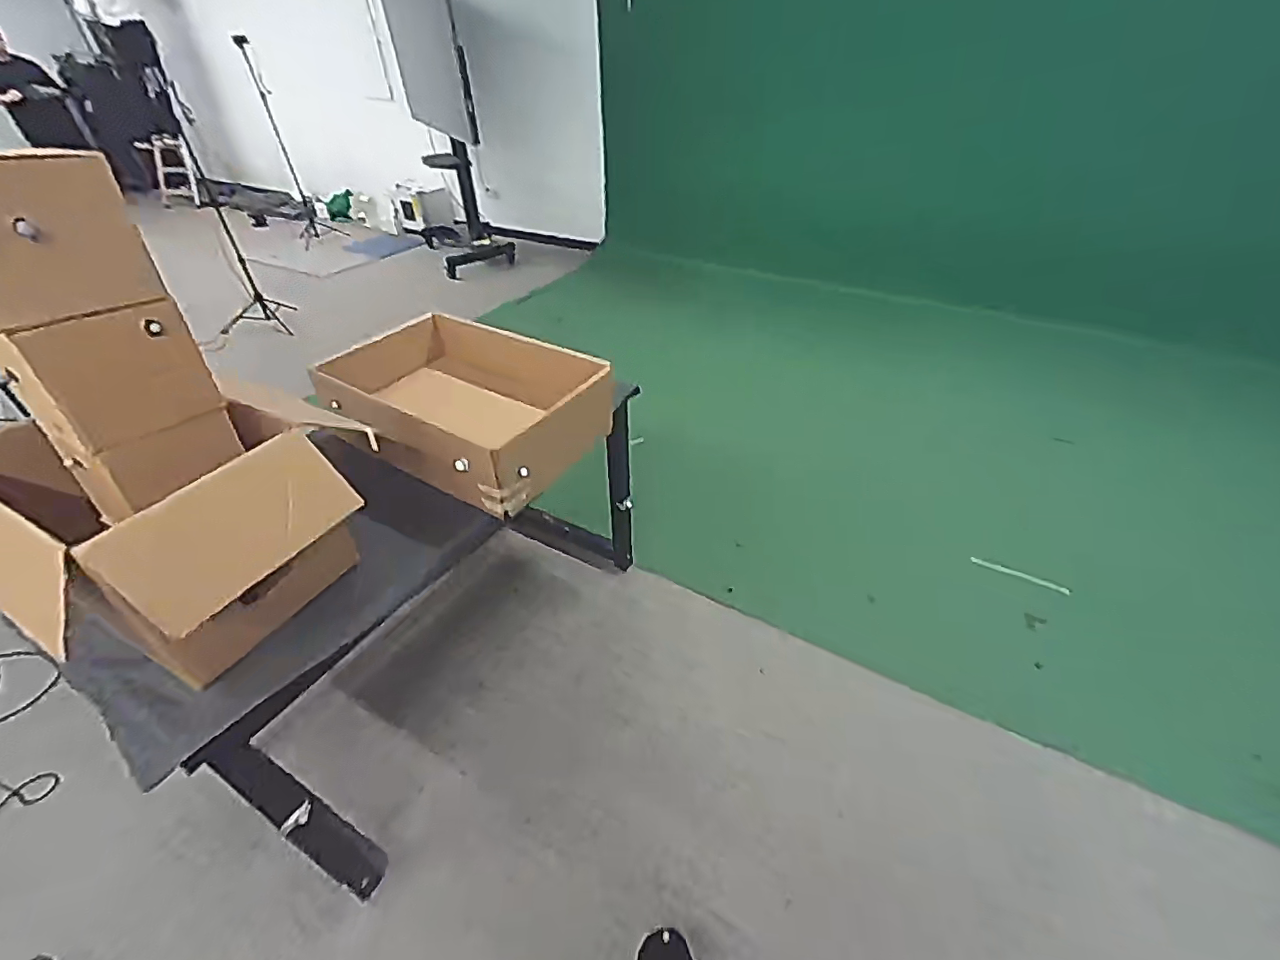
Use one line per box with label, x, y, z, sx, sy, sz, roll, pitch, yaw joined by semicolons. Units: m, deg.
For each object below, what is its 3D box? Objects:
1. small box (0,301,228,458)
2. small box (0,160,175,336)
small box;-0.734;-0.151;0.753;0.168;0.176;0.179;19;38;25
small box;-0.736;-0.288;0.662;0.168;0.176;0.179;20;39;26
